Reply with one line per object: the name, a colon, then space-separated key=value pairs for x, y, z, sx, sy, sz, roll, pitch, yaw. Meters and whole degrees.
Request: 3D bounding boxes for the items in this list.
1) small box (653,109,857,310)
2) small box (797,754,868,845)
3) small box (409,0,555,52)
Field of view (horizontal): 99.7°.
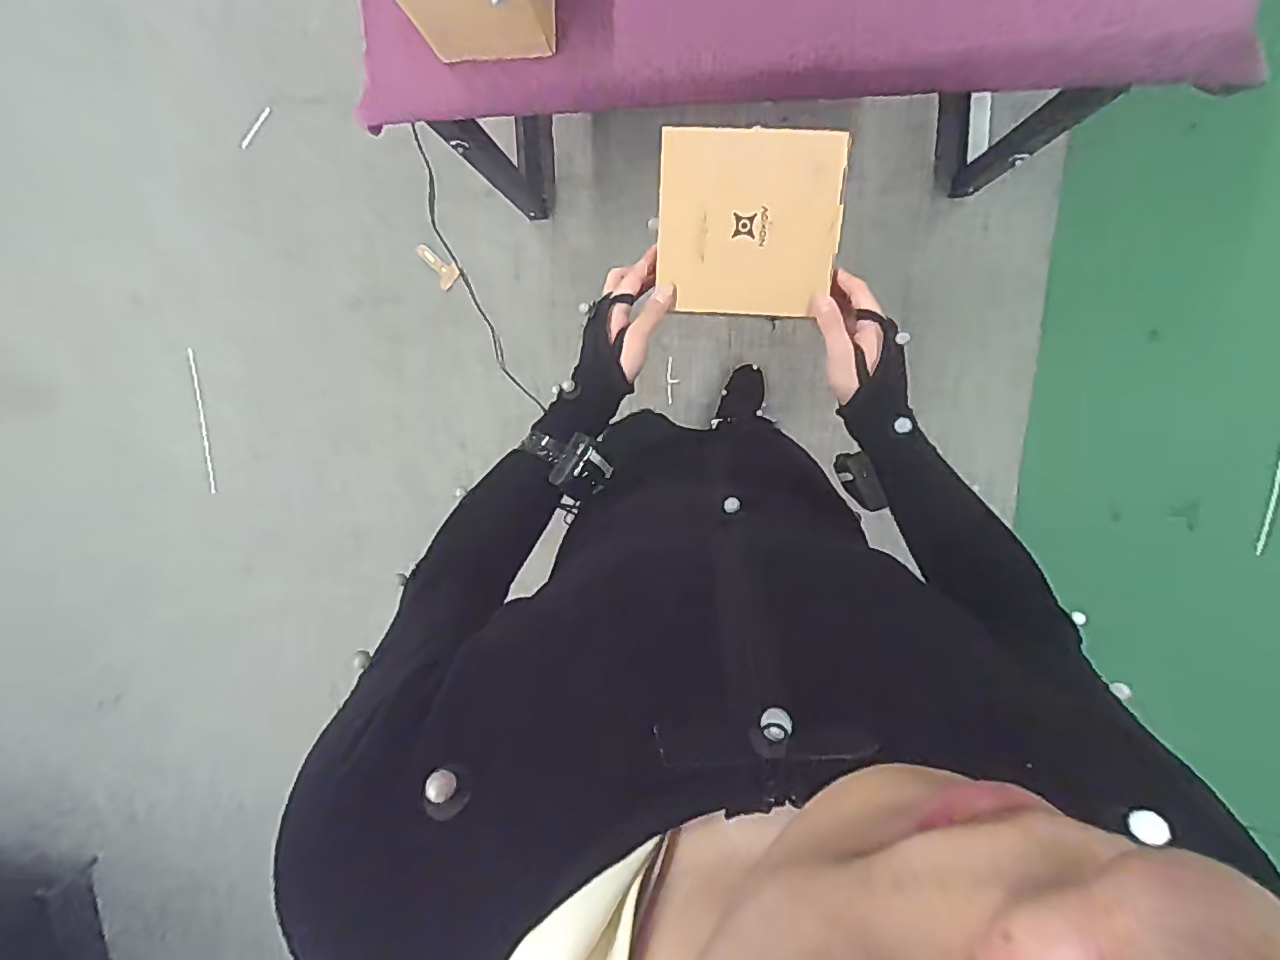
small box: x=0.109 y=-0.275 z=0.586 sx=0.179 sy=0.176 sz=0.168 roll=4 pitch=106 yaw=3
small box: x=0.588 y=0.979 z=1.671 sx=0.168 sy=0.176 sz=0.179 roll=3 pitch=101 yaw=6
small box: x=-0.216 y=-0.691 z=0.697 sx=0.179 sy=0.176 sz=0.168 roll=1 pitch=99 yaw=5
